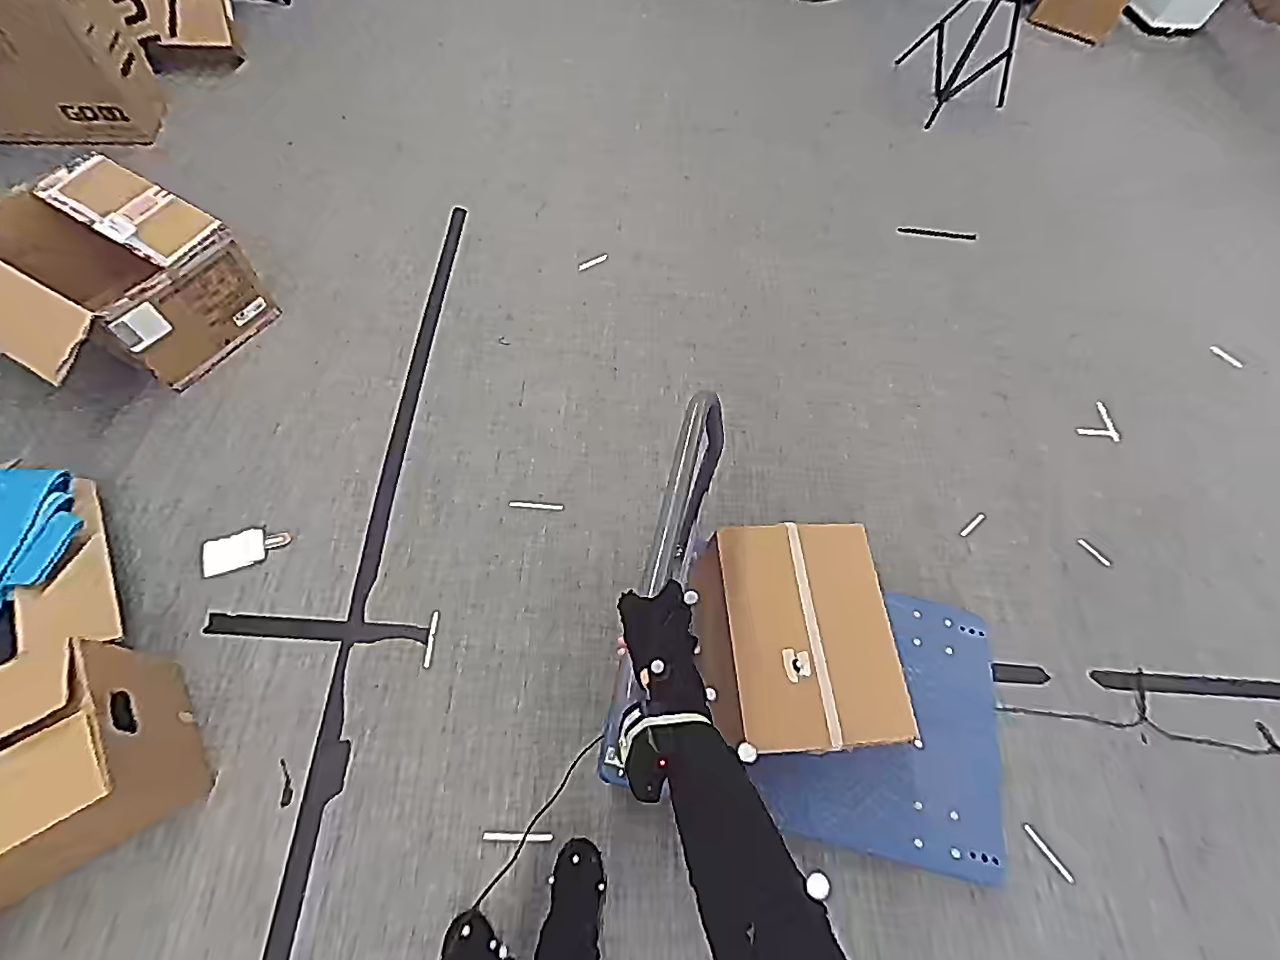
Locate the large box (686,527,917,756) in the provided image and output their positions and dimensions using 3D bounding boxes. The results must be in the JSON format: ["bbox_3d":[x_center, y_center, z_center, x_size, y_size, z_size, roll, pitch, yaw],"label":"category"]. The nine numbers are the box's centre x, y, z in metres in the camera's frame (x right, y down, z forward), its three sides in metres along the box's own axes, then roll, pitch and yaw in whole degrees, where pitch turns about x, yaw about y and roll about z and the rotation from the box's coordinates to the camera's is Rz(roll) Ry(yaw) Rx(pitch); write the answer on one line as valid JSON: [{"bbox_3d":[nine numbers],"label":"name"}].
[{"bbox_3d":[0.297,0.340,1.133,0.320,0.320,0.408,-1,64,-7],"label":"large box"}]
